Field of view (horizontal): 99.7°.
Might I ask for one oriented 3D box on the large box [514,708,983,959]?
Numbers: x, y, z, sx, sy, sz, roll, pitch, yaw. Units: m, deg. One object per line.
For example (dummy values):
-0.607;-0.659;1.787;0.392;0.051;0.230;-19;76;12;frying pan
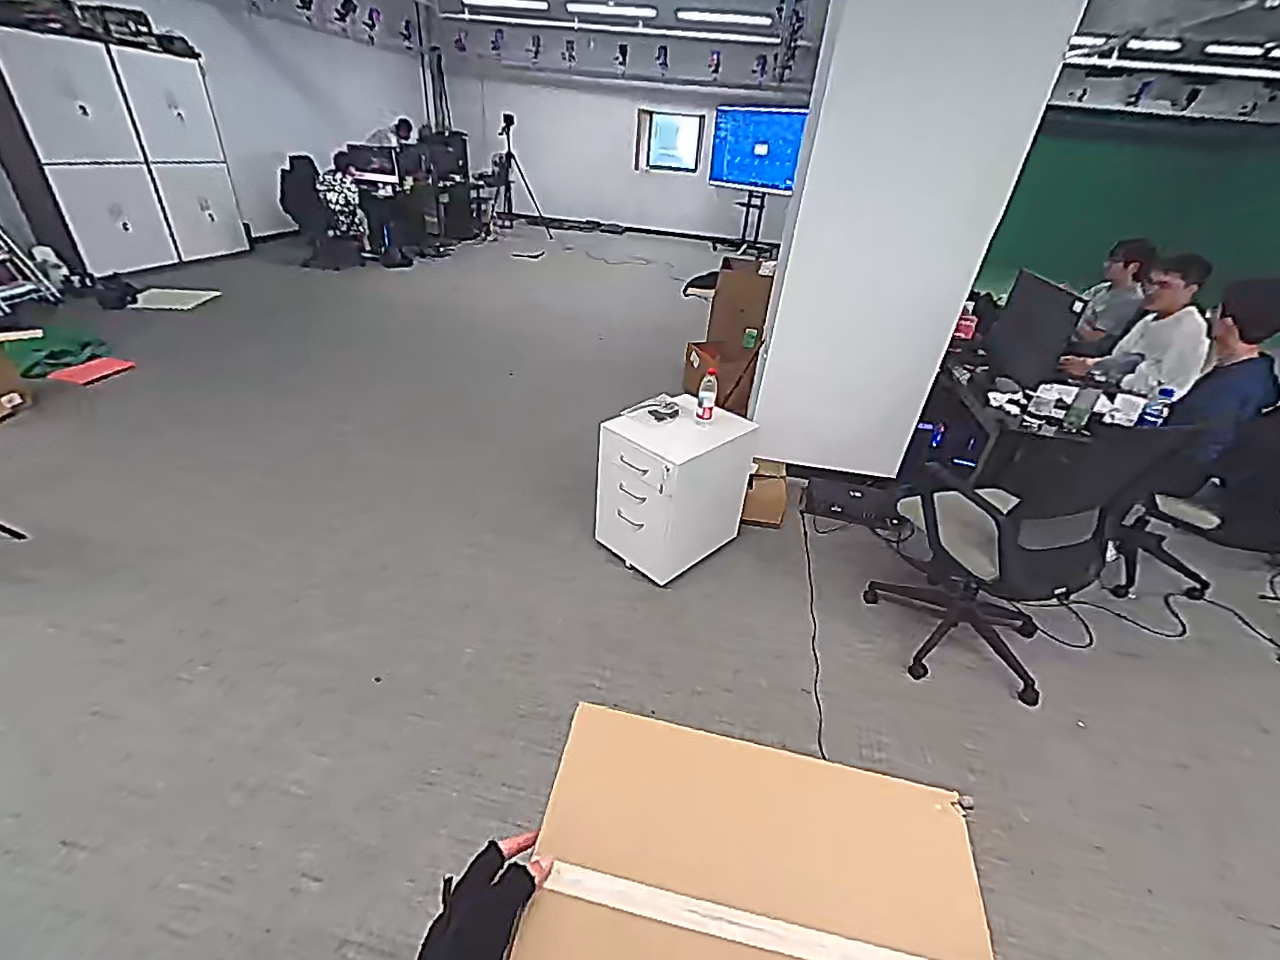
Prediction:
0.088;0.498;0.579;0.408;0.320;0.320;12;44;5;large box
